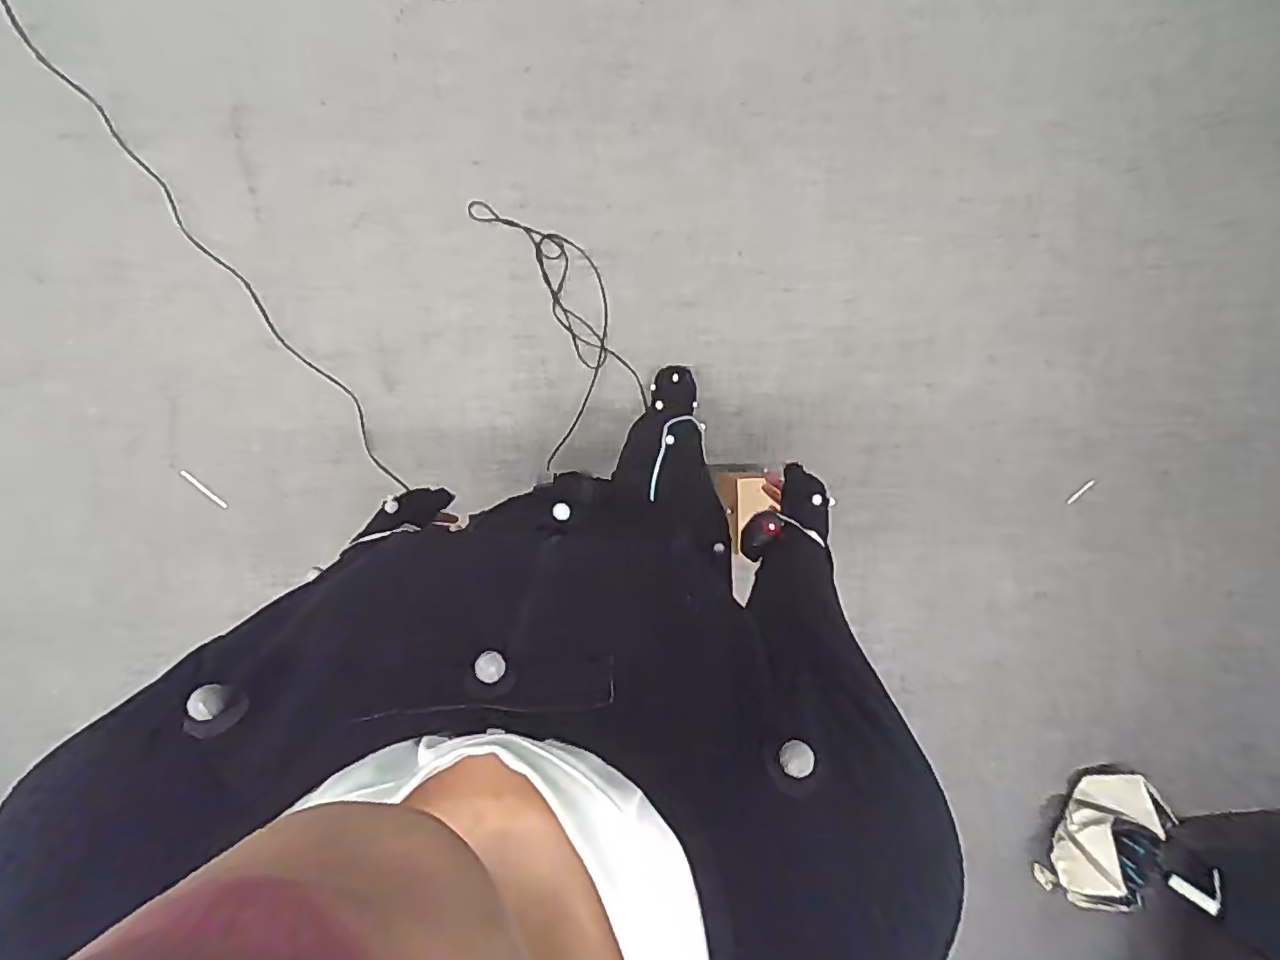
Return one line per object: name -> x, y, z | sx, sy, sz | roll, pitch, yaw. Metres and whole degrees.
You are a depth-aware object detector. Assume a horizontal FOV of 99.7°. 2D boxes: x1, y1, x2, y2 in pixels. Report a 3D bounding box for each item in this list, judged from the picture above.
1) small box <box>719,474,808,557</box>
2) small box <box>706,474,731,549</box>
small box -> 0.281, 0.076, 1.263 | 0.168, 0.176, 0.179 | -1, 96, -4
small box -> 0.273, 0.080, 1.428 | 0.168, 0.176, 0.179 | 2, 95, -5
